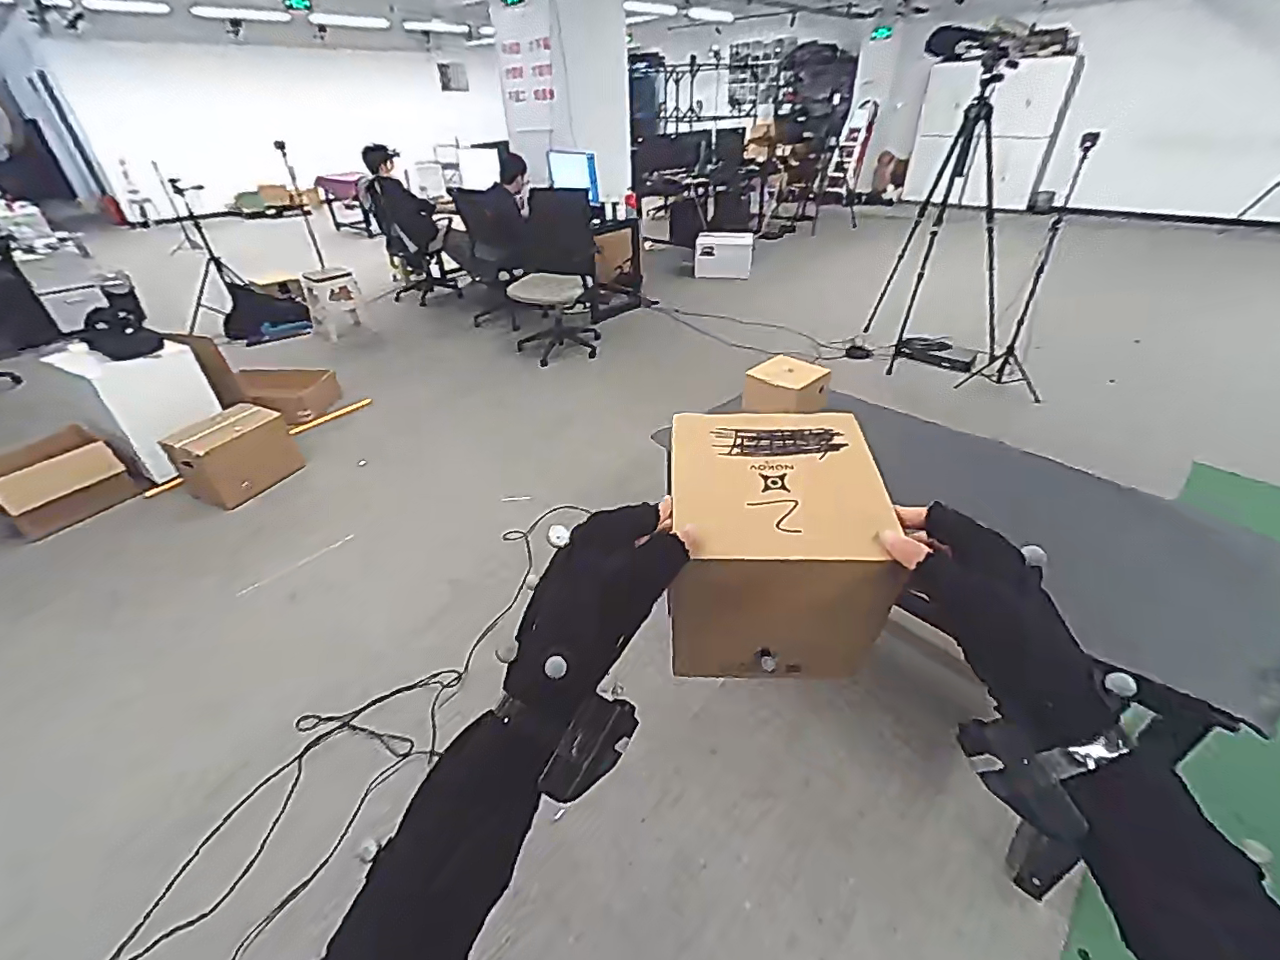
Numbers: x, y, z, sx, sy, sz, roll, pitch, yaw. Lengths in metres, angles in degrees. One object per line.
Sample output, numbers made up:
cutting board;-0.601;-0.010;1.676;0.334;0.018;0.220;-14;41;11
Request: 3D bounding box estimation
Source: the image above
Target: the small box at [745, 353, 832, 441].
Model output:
small box;0.408;-0.234;1.514;0.168;0.176;0.179;29;45;36
